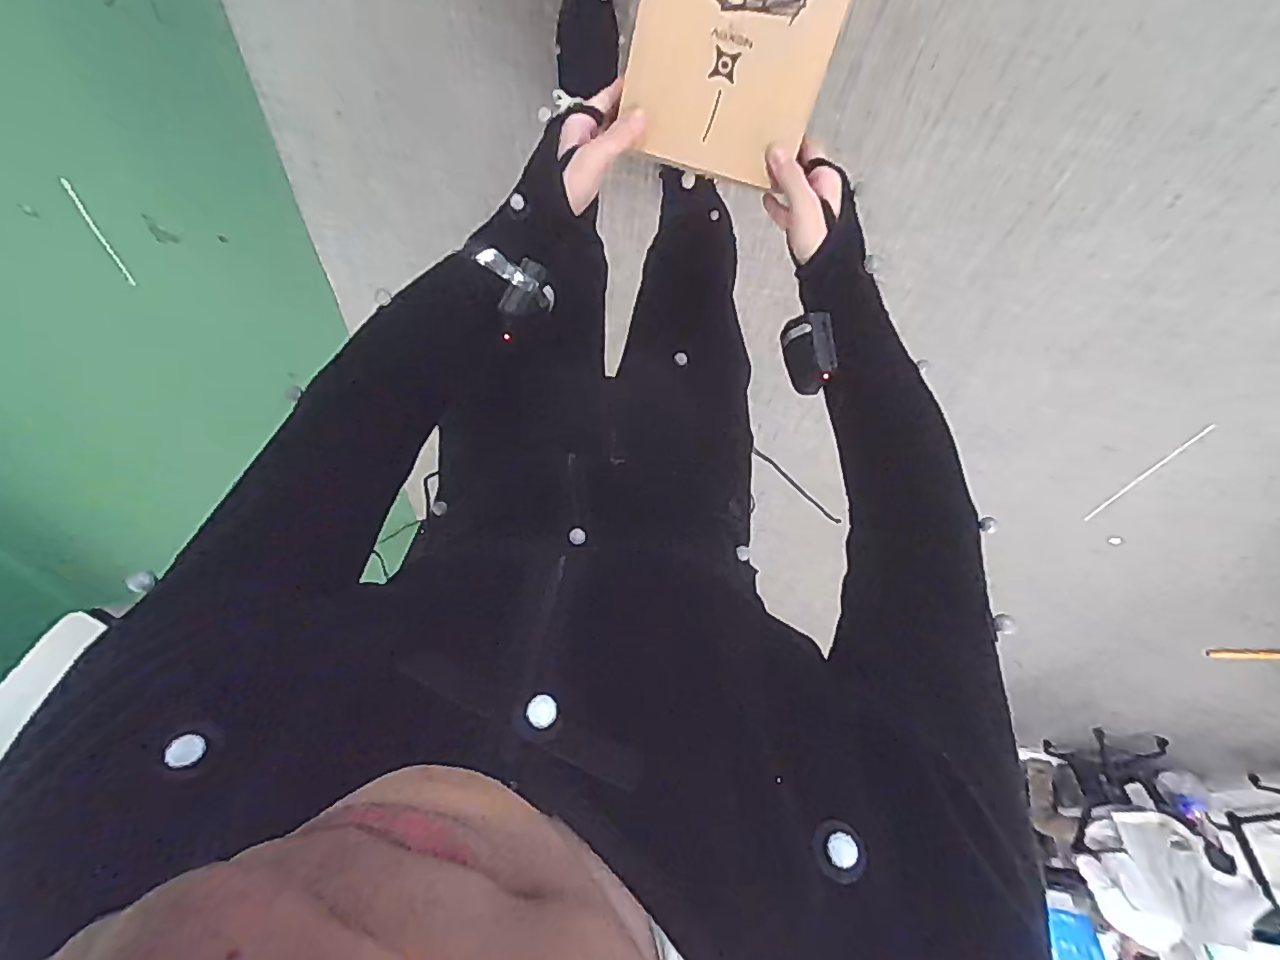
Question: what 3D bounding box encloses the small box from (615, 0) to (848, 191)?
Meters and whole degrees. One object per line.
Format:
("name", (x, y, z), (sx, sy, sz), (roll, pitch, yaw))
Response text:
("small box", (0.080, -0.400, 0.524), (0.168, 0.176, 0.179), (14, 120, -3))
